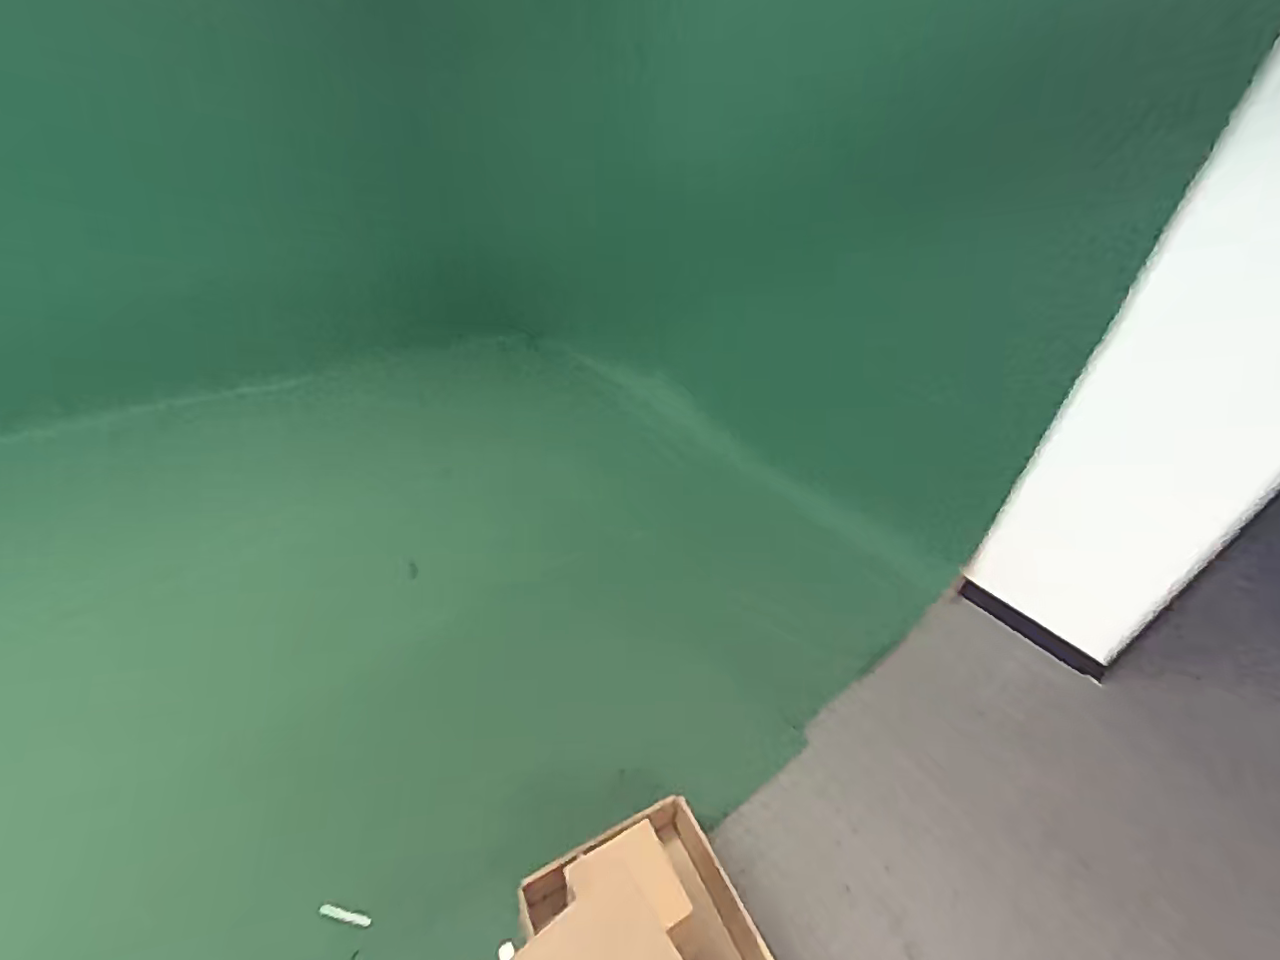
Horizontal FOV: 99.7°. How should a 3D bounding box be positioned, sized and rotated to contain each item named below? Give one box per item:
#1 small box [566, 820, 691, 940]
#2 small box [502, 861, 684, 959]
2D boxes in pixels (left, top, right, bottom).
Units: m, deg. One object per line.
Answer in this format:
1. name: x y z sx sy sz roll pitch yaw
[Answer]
1. small box: -0.027 0.781 1.001 0.179 0.176 0.168 -17 43 -23
2. small box: -0.031 0.431 0.383 0.179 0.176 0.168 -27 45 -26
